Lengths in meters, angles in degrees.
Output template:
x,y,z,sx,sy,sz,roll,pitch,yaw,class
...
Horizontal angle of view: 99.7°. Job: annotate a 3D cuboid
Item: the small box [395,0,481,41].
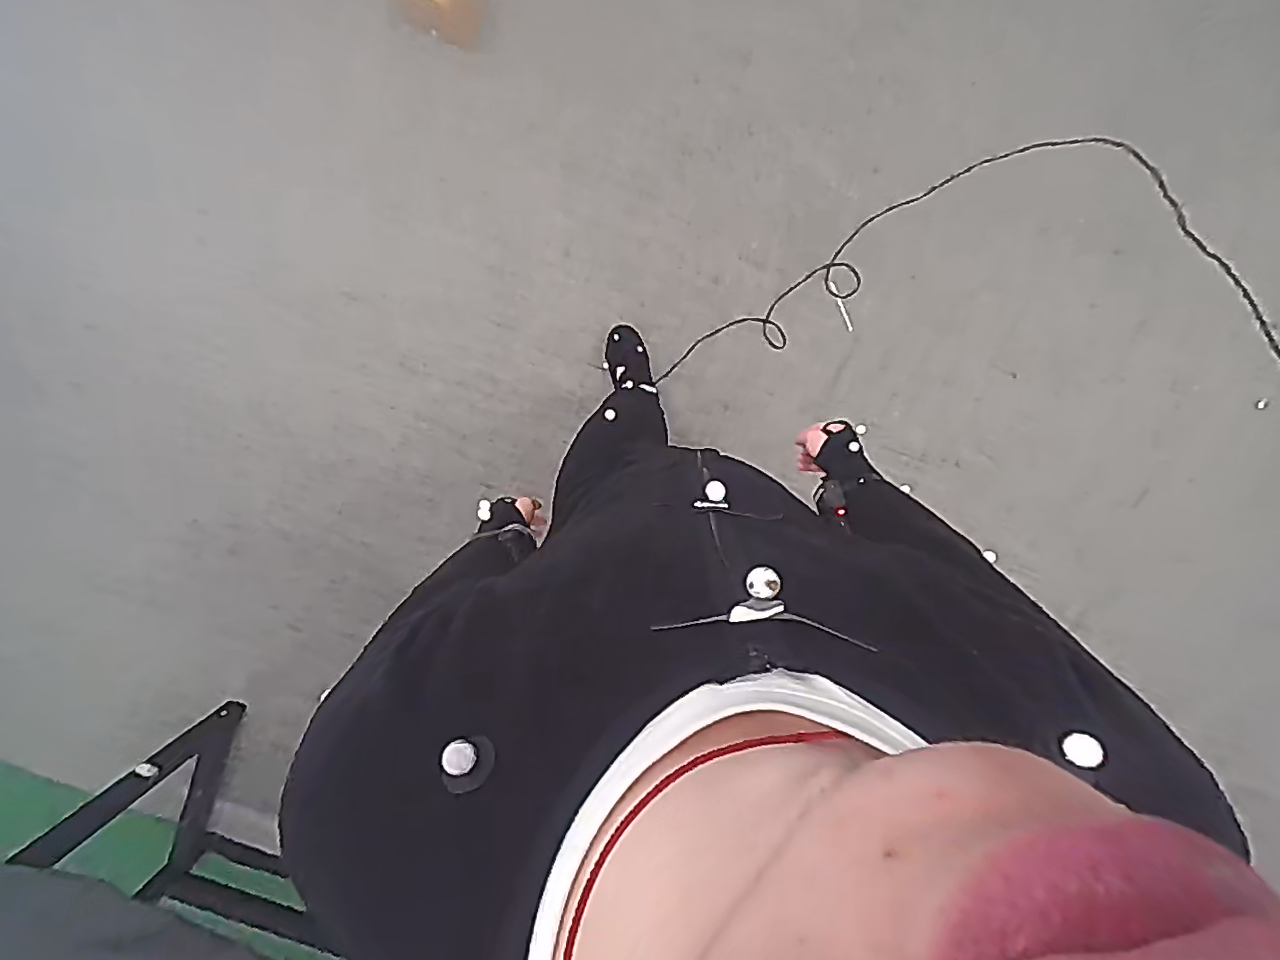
x,y,z,sx,sy,sz,roll,pitch,yaw,class
-0.493,-1.215,1.301,0.179,0.176,0.168,22,98,-3,small box
